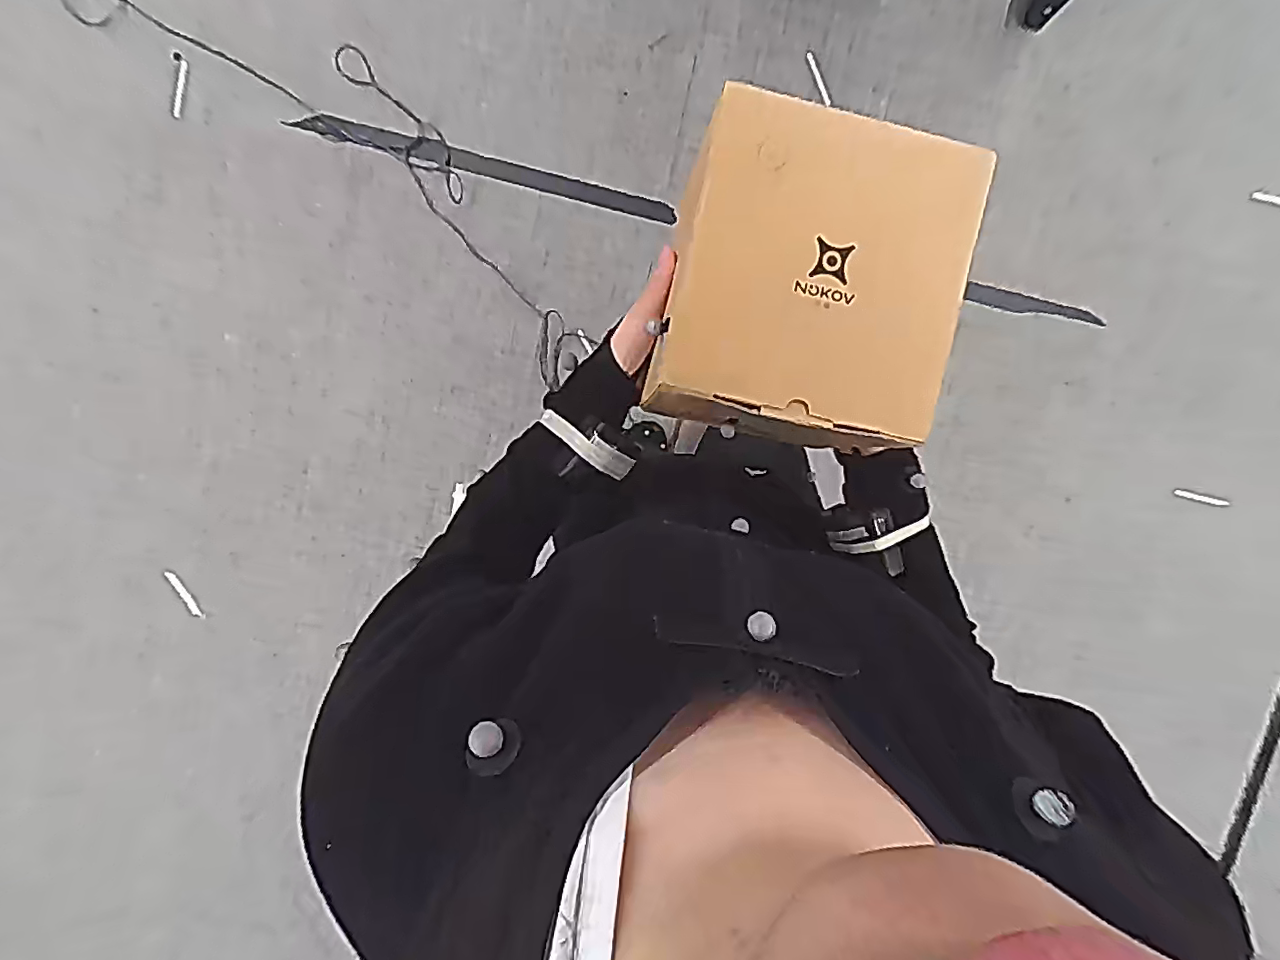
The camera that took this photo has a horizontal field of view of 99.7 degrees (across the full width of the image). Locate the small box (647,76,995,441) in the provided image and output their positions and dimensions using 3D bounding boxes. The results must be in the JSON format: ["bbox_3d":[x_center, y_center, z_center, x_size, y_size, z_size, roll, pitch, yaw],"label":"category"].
[{"bbox_3d":[0.104,-0.130,0.390,0.168,0.176,0.179,12,93,-5],"label":"small box"}]
